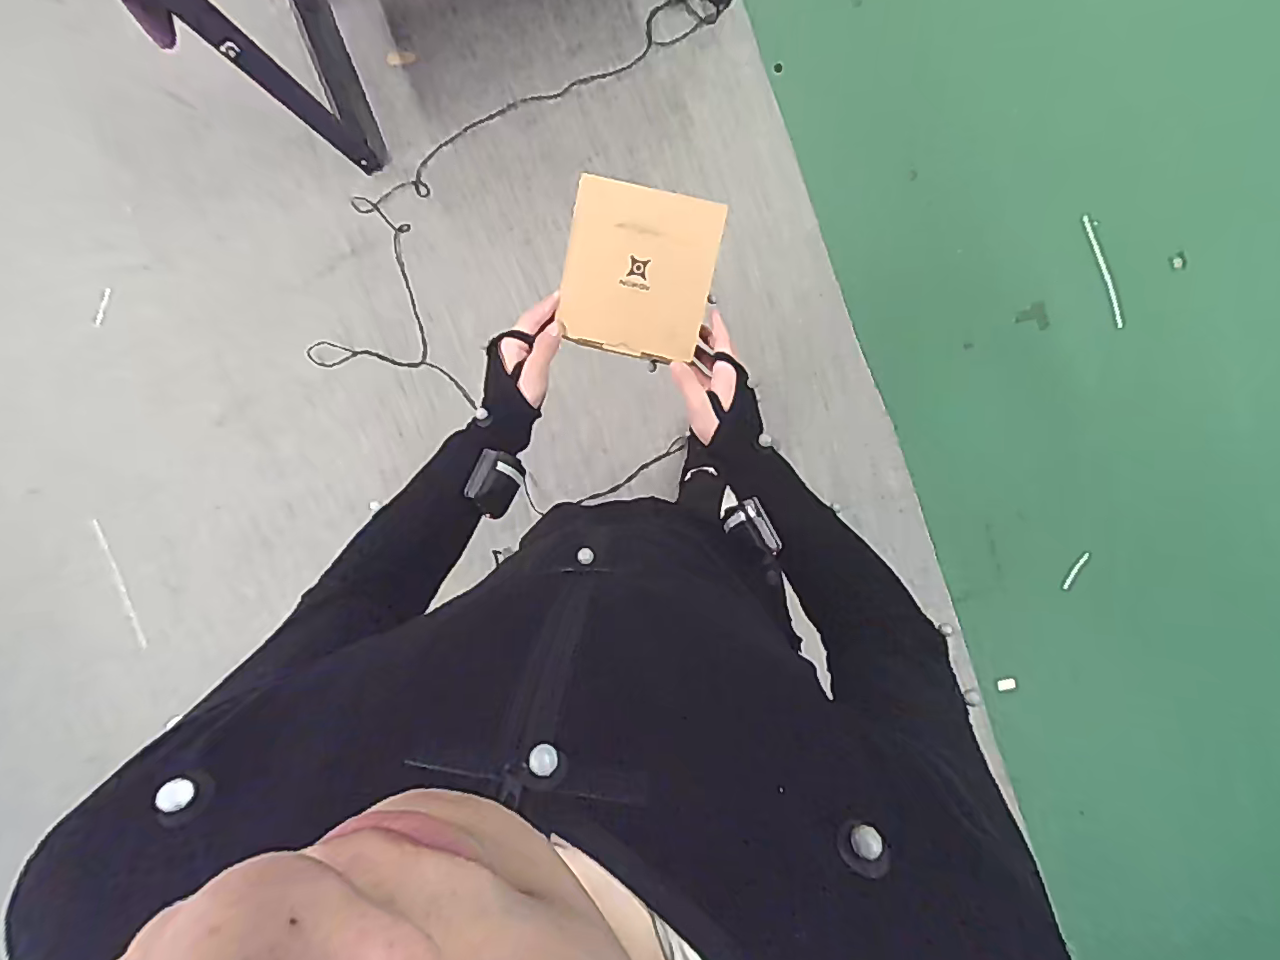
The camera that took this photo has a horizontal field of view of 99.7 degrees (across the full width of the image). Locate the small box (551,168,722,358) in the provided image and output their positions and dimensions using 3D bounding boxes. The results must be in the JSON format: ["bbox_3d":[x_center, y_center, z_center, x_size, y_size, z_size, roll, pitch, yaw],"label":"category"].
[{"bbox_3d":[0.000,-0.257,0.684,0.168,0.176,0.179,13,102,1],"label":"small box"}]
